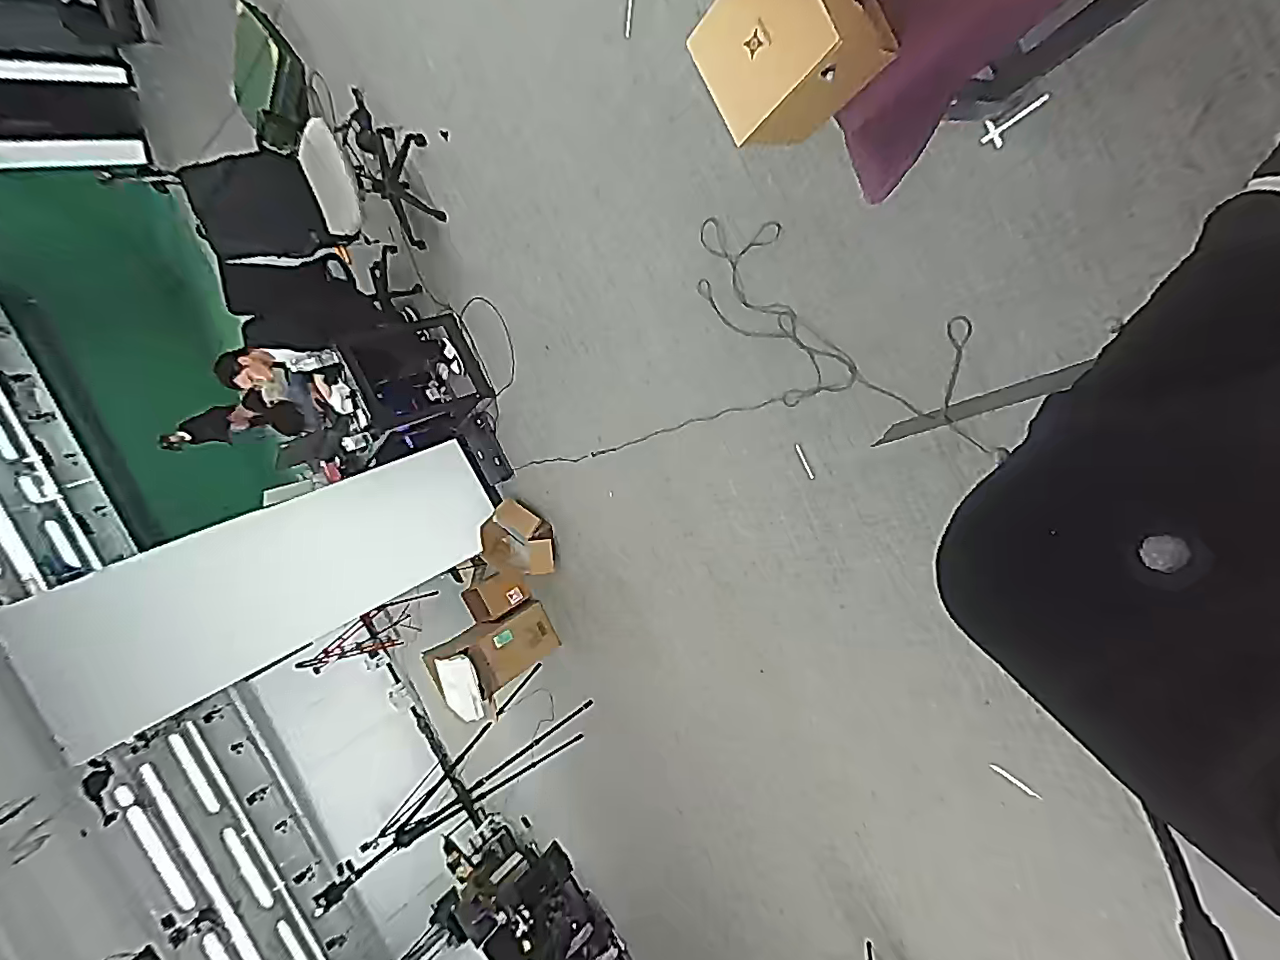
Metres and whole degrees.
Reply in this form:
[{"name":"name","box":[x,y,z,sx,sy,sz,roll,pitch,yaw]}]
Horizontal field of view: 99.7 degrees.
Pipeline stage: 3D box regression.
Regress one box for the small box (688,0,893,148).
[{"name":"small box","box":[0.206,-0.588,0.740,0.179,0.176,0.168,-25,93,52]}]
